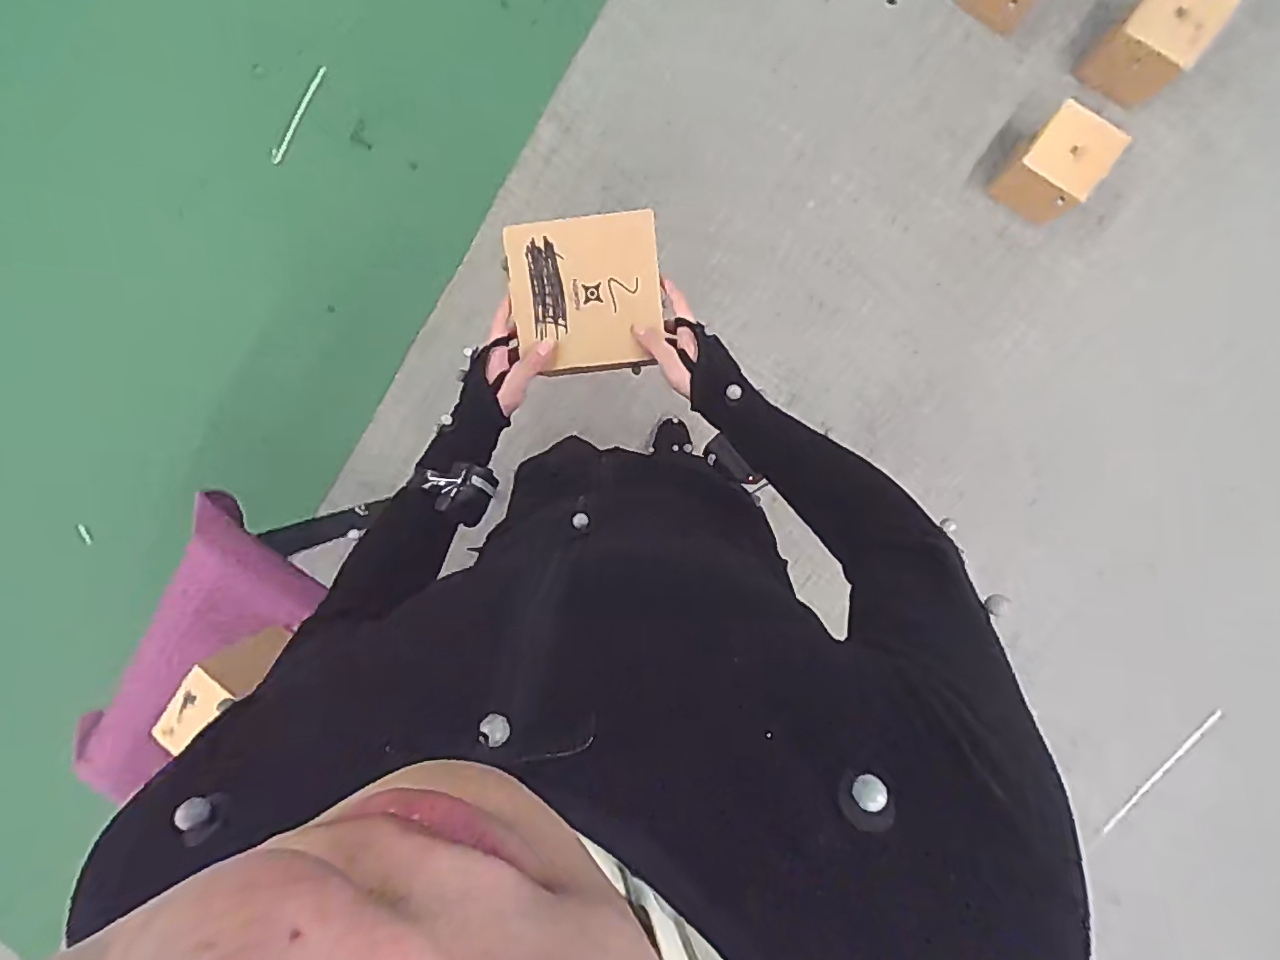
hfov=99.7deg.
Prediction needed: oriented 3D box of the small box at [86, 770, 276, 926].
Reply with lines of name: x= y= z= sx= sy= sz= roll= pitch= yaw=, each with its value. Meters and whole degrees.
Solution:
small box: x=-0.808 y=0.624 z=0.974 sx=0.168 sy=0.176 sz=0.179 roll=40 pitch=100 yaw=1

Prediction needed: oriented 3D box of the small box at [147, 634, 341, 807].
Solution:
small box: x=-0.664 y=0.398 z=0.928 sx=0.179 sy=0.176 sz=0.168 roll=39 pitch=100 yaw=0

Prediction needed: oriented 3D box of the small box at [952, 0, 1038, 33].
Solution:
small box: x=0.895 y=-1.223 z=1.283 sx=0.179 sy=0.176 sz=0.168 roll=35 pitch=99 yaw=2

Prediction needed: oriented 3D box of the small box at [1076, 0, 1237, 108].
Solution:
small box: x=1.193 y=-1.026 z=1.268 sx=0.179 sy=0.176 sz=0.168 roll=34 pitch=100 yaw=2

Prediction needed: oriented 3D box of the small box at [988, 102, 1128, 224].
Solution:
small box: x=1.008 y=-0.764 z=1.325 sx=0.179 sy=0.176 sz=0.168 roll=33 pitch=99 yaw=1
